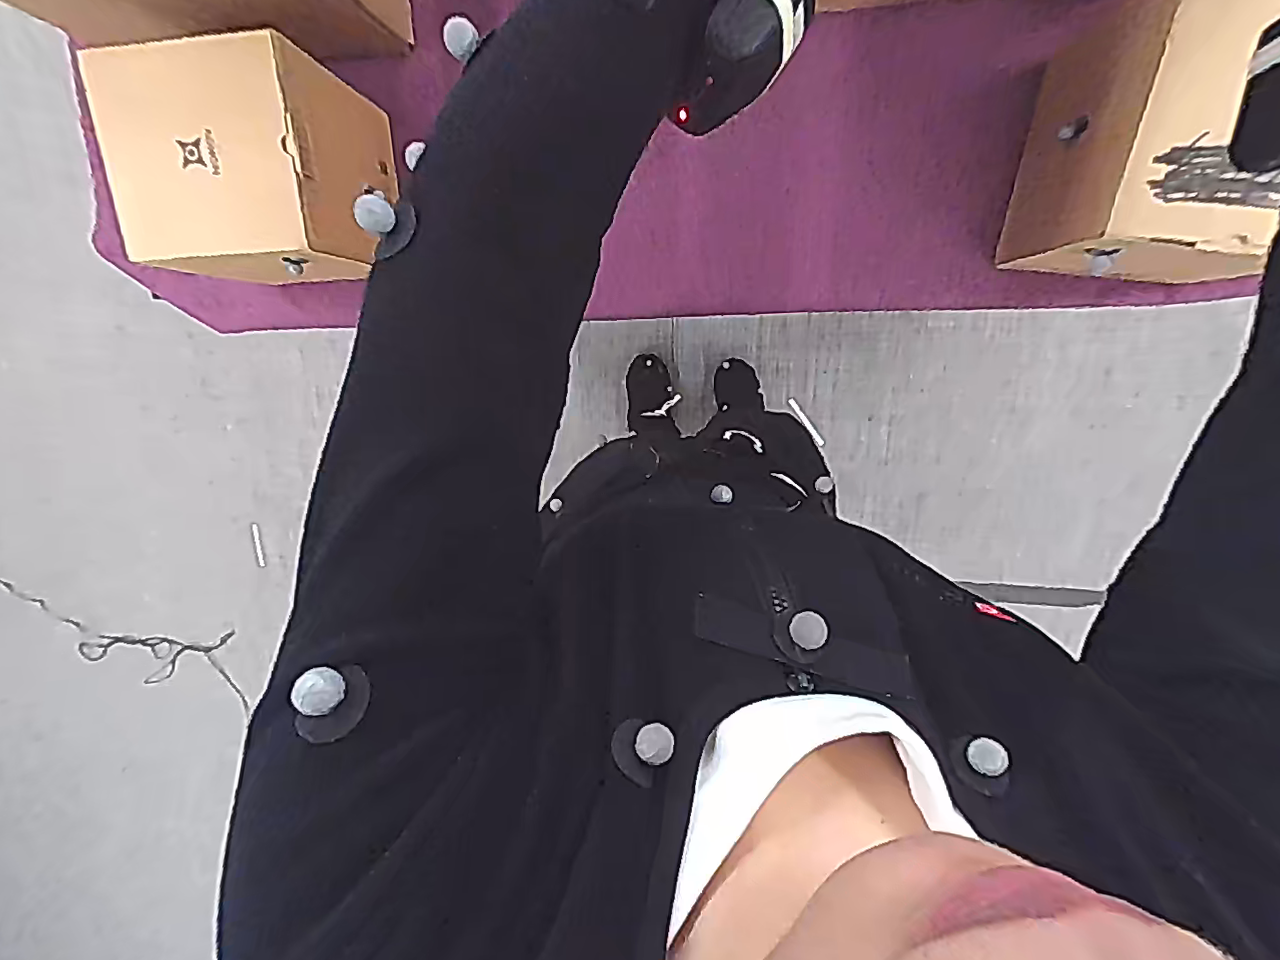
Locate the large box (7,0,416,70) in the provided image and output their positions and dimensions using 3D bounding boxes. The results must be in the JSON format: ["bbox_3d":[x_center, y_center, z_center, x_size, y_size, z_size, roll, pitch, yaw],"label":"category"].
[{"bbox_3d":[-0.406,-0.602,0.390,0.320,0.320,0.408,1,108,7],"label":"large box"}]
